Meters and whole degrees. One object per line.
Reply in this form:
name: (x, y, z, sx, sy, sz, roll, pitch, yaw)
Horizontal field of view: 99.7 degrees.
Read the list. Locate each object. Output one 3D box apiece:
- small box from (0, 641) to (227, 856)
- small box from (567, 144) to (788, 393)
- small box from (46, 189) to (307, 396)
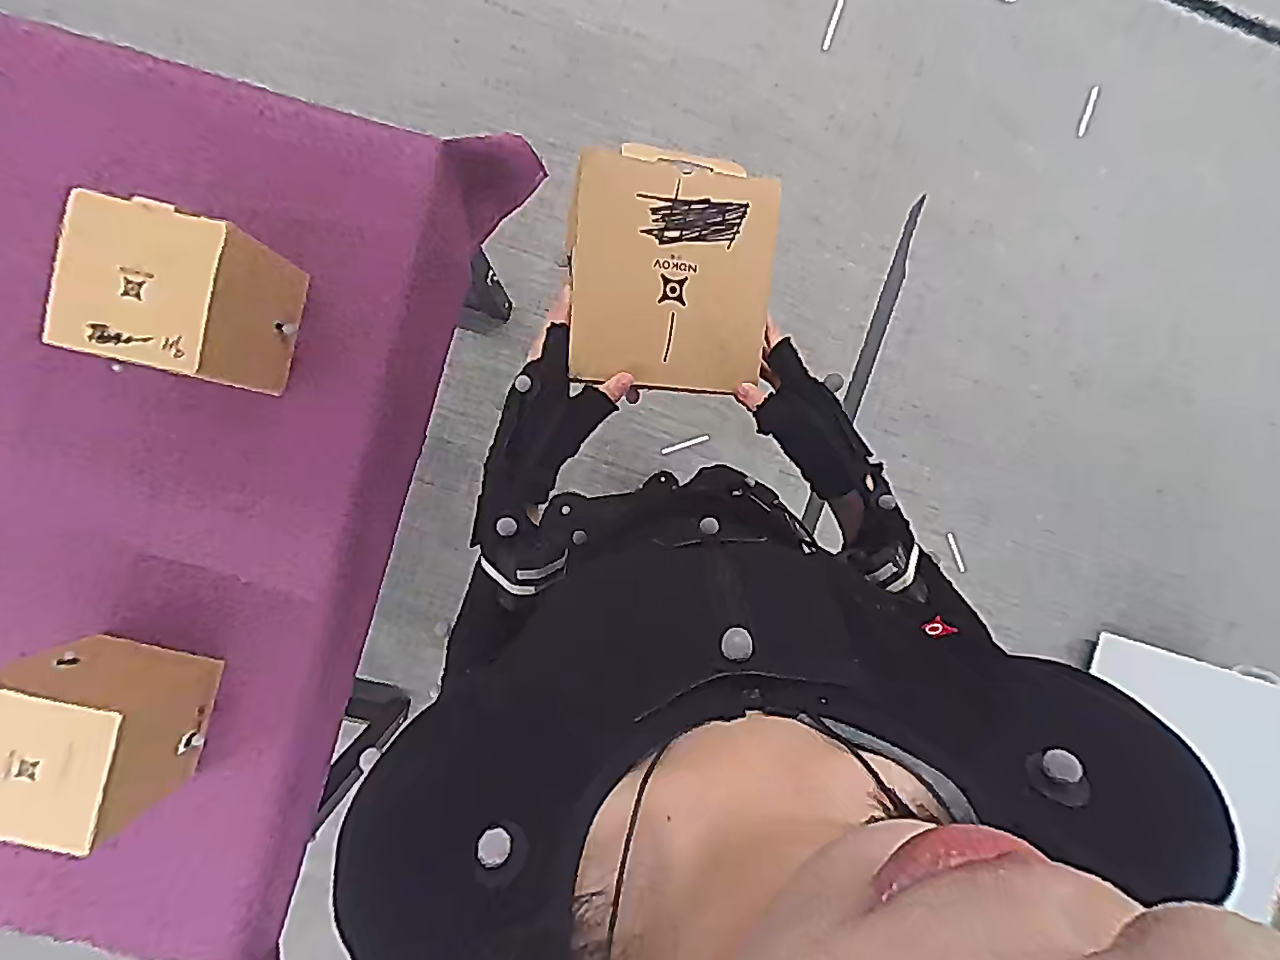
small box: (-0.670, 0.313, 0.668, 0.179, 0.176, 0.168, 13, 90, -4)
small box: (0.020, -0.178, 0.515, 0.168, 0.176, 0.179, 3, 99, -11)
small box: (-0.550, -0.216, 0.671, 0.168, 0.176, 0.179, 12, 89, -3)
